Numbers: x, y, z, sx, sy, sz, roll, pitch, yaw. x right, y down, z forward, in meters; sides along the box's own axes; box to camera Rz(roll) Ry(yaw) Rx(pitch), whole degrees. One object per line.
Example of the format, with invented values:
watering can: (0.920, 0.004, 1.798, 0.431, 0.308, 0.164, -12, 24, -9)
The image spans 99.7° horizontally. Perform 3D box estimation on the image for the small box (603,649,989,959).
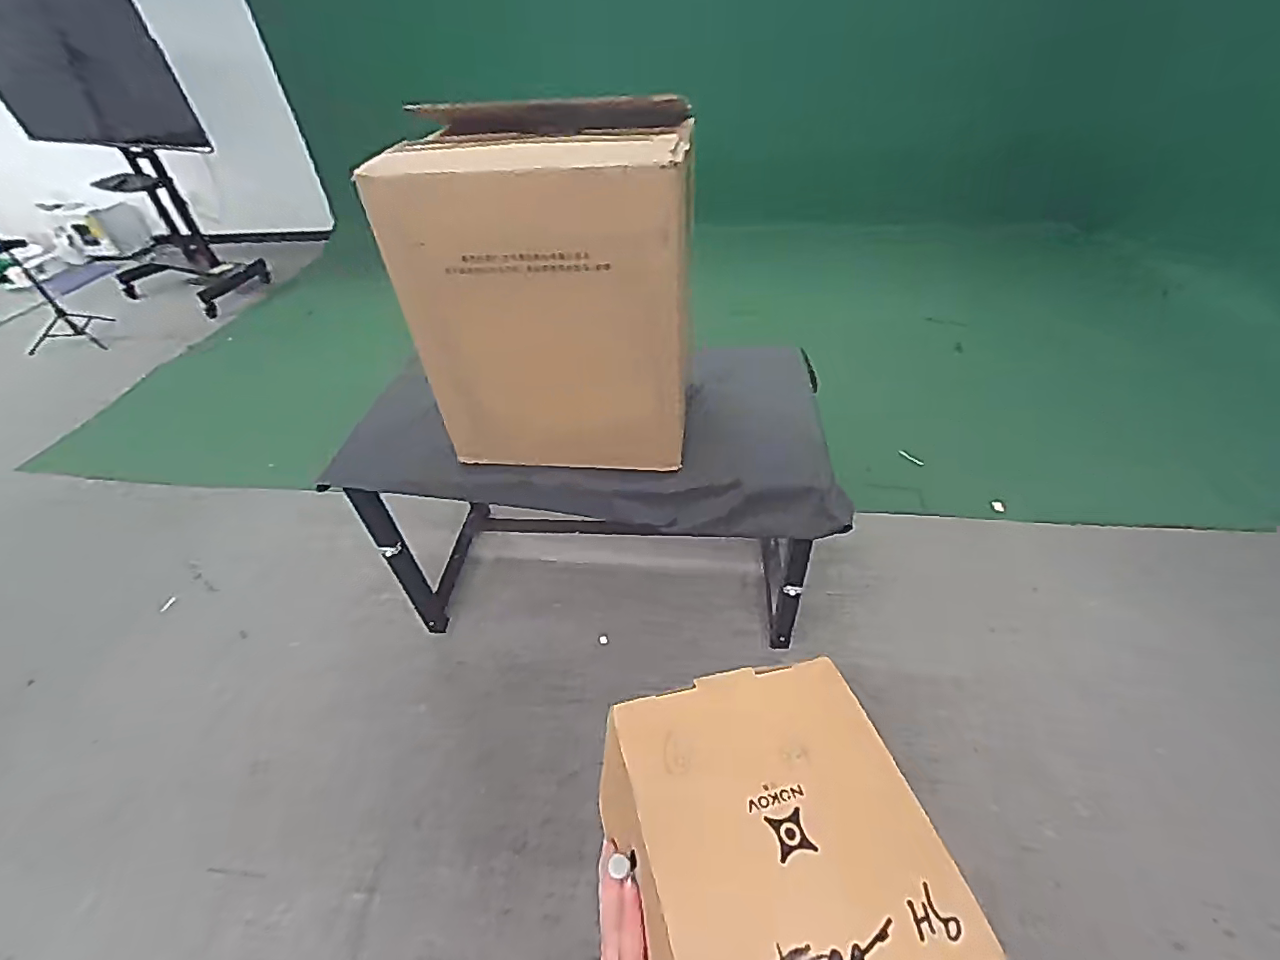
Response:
small box: (0.072, 0.249, 0.367, 0.168, 0.176, 0.179, -8, 42, -15)
